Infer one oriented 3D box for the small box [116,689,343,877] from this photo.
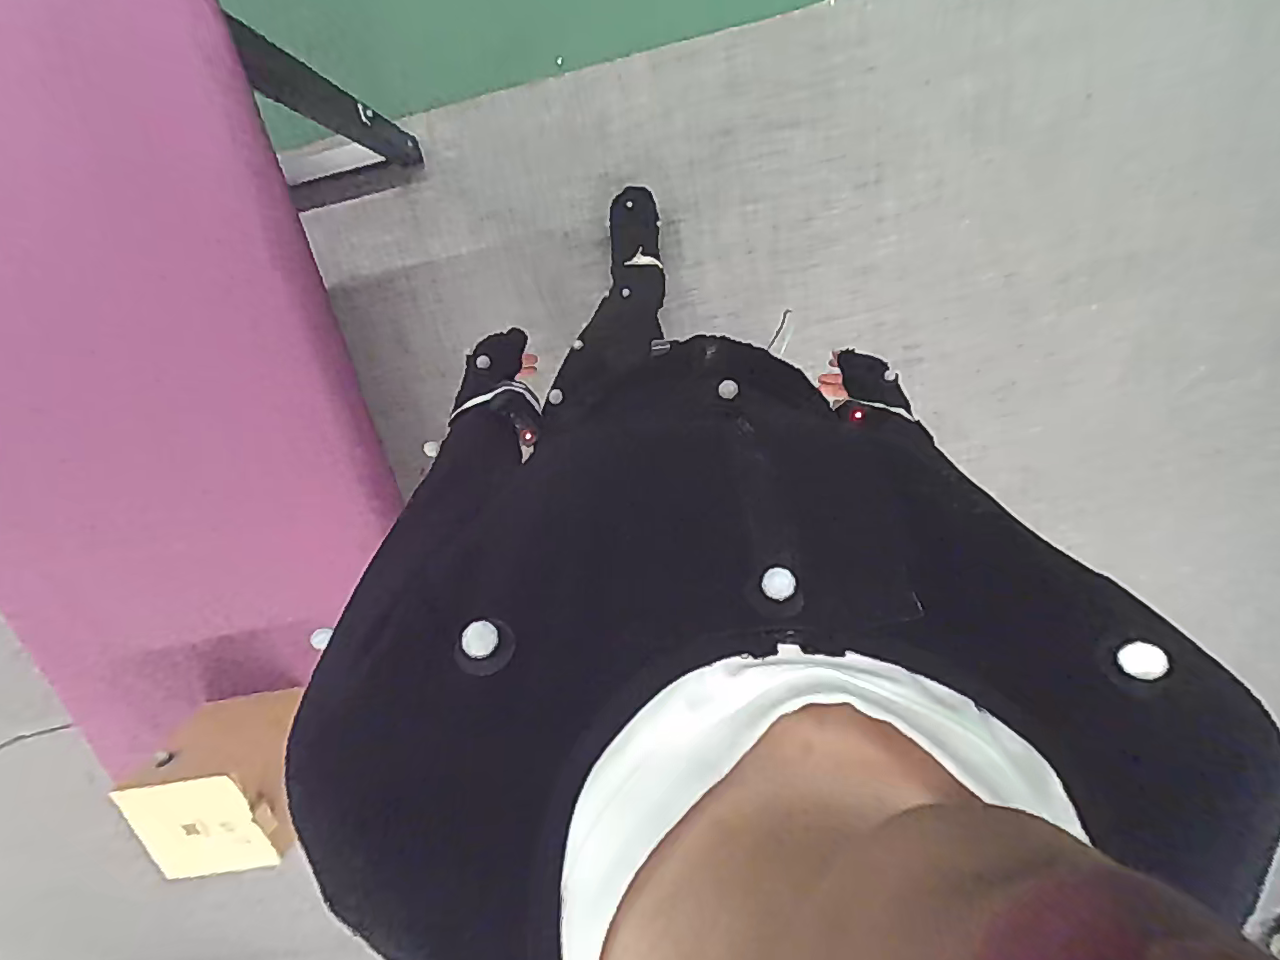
[{"bbox_3d":[-0.587,0.438,0.800,0.179,0.176,0.168,-10,108,4],"label":"small box"}]
